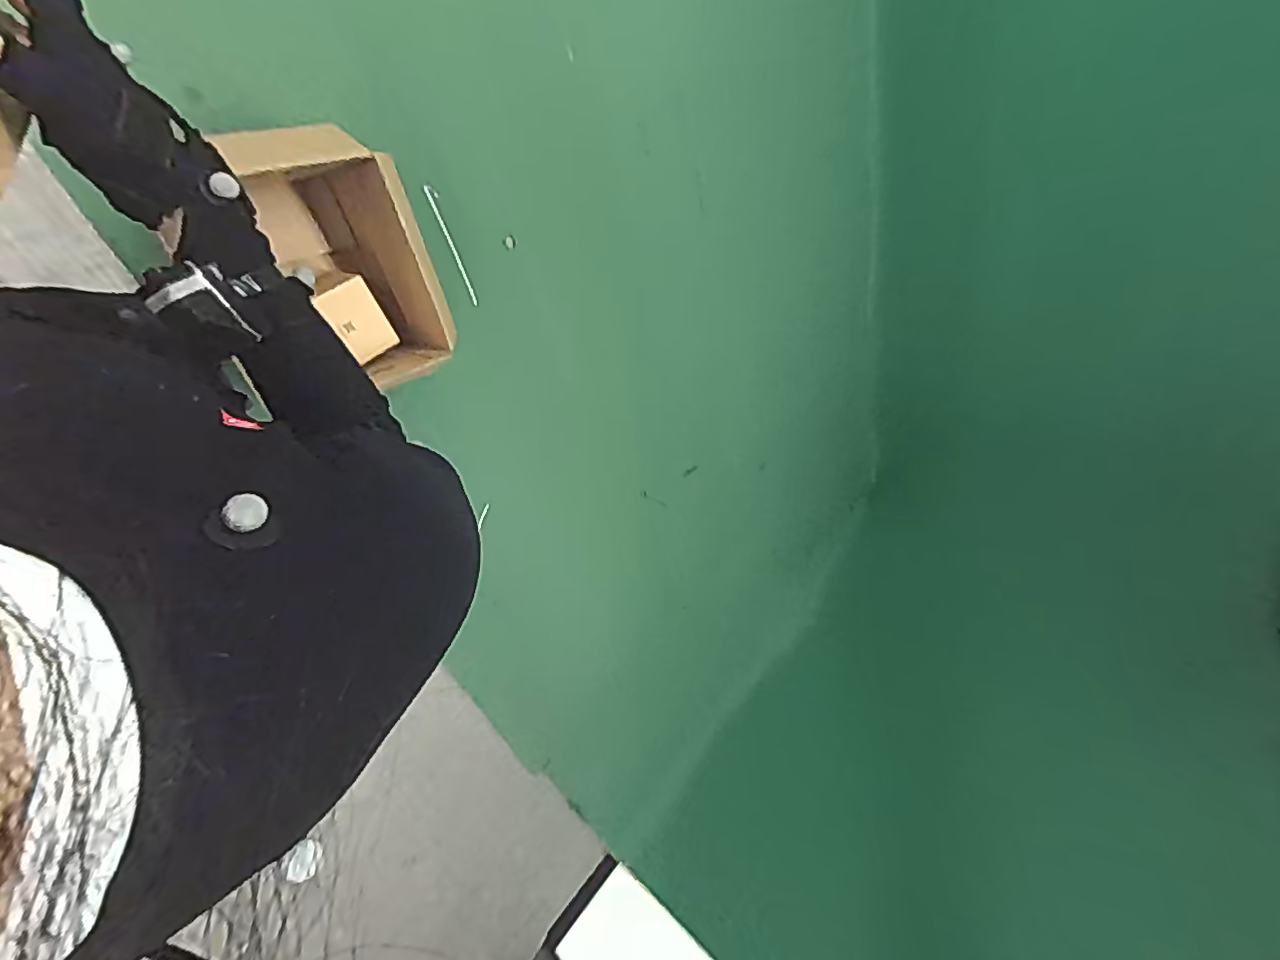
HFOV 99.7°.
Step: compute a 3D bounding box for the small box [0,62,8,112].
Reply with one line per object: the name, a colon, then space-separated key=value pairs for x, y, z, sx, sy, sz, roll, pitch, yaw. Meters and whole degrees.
small box: x=-0.416 y=-0.247 z=0.220 sx=0.168 sy=0.176 sz=0.179 roll=-14 pitch=138 yaw=-34
